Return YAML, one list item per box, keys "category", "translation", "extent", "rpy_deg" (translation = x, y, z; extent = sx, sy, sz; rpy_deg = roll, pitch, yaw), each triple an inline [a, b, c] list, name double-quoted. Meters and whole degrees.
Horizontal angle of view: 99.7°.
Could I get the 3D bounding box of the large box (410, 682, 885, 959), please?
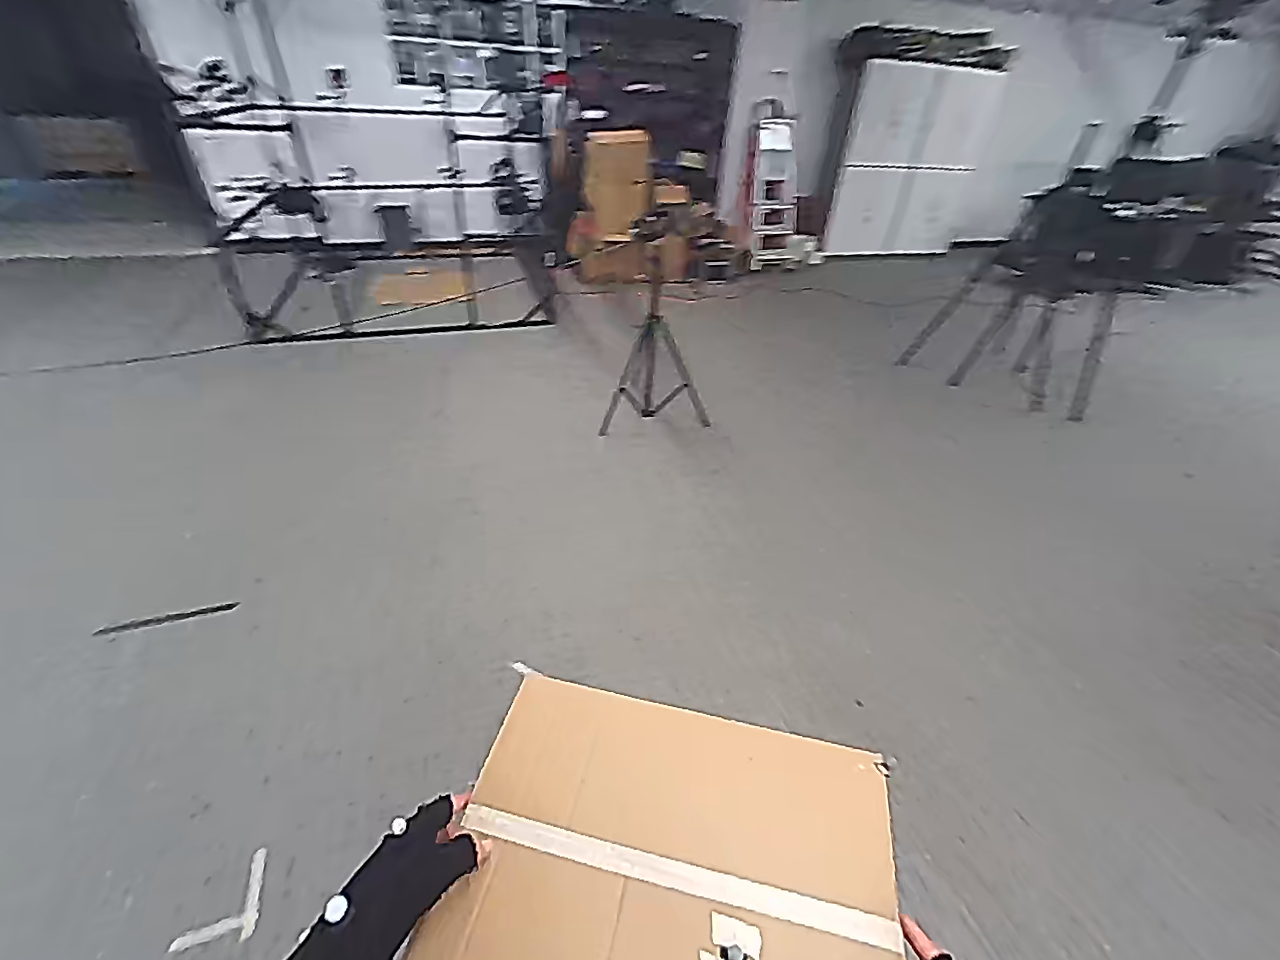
- category: "large box"
  translation: [0.017, 0.478, 0.605]
  extent: [0.408, 0.320, 0.320]
  rpy_deg: [8, 41, 9]
